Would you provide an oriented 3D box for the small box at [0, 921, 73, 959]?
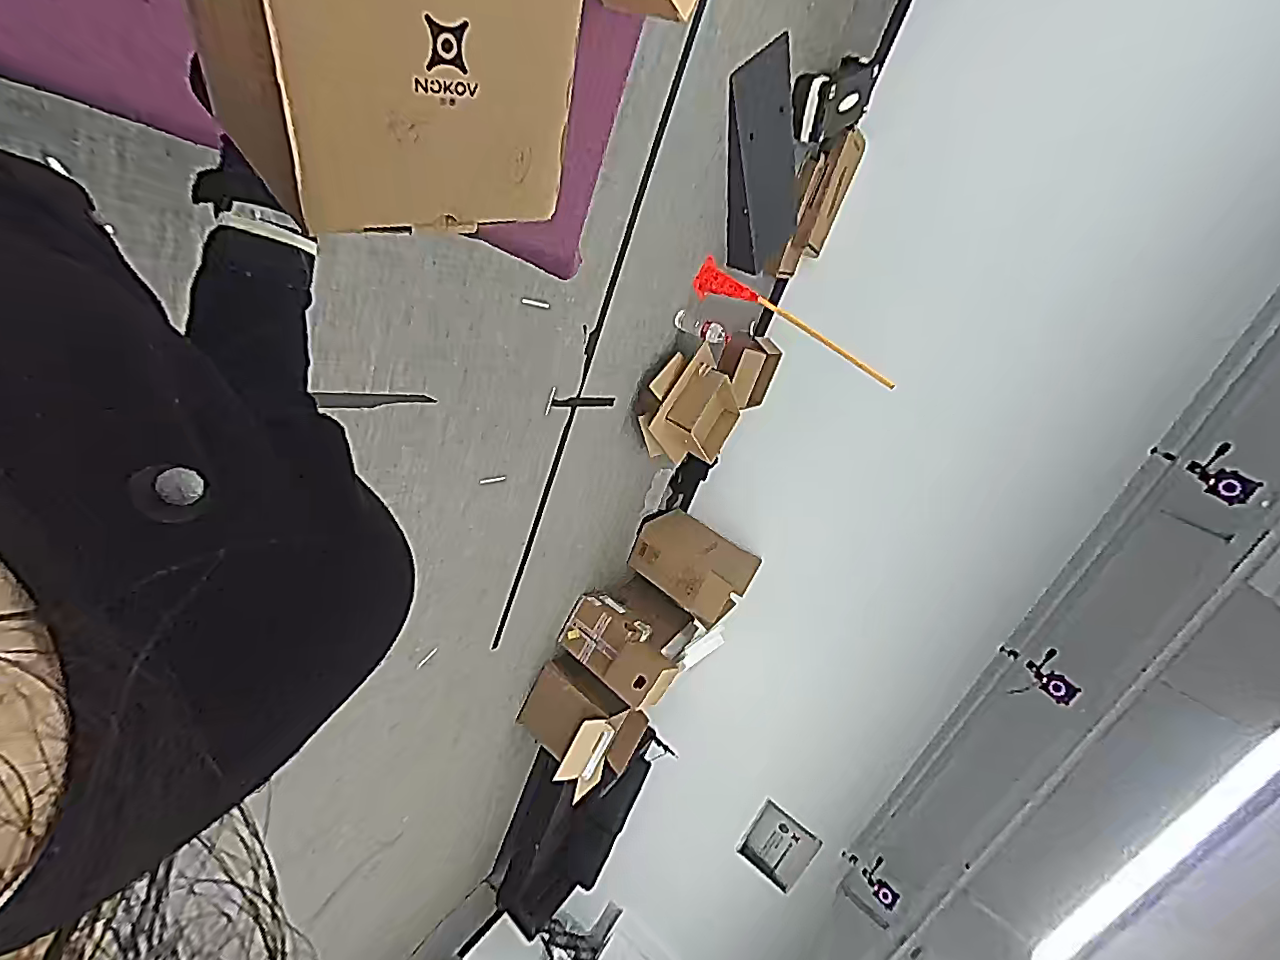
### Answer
[{"bbox_3d":[-1.506,1.230,1.298,0.179,0.176,0.168,-1,119,-62],"label":"small box"}]

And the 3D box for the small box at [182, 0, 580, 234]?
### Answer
[{"bbox_3d":[-0.158,-0.277,0.325,0.168,0.176,0.179,-25,152,-37],"label":"small box"}]

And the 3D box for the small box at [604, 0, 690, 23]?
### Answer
[{"bbox_3d":[-0.003,-0.803,0.755,0.168,0.176,0.179,-8,129,-61],"label":"small box"}]
